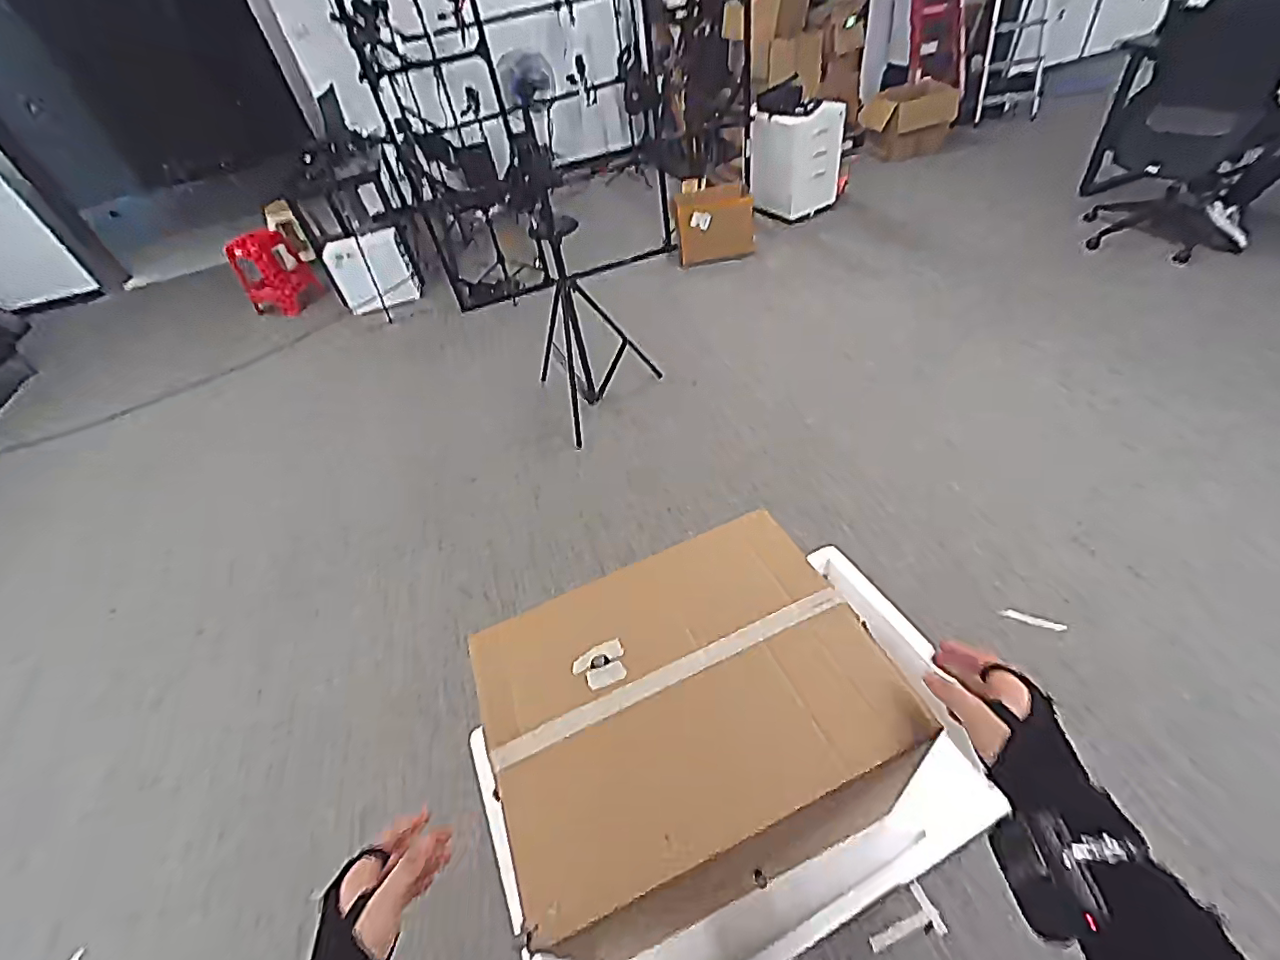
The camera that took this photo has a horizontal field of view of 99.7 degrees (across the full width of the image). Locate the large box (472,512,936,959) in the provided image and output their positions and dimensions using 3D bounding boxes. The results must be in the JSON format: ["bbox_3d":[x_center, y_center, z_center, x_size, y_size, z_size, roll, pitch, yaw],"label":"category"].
[{"bbox_3d":[0.066,0.313,0.668,0.408,0.320,0.320,-24,44,-9],"label":"large box"}]
